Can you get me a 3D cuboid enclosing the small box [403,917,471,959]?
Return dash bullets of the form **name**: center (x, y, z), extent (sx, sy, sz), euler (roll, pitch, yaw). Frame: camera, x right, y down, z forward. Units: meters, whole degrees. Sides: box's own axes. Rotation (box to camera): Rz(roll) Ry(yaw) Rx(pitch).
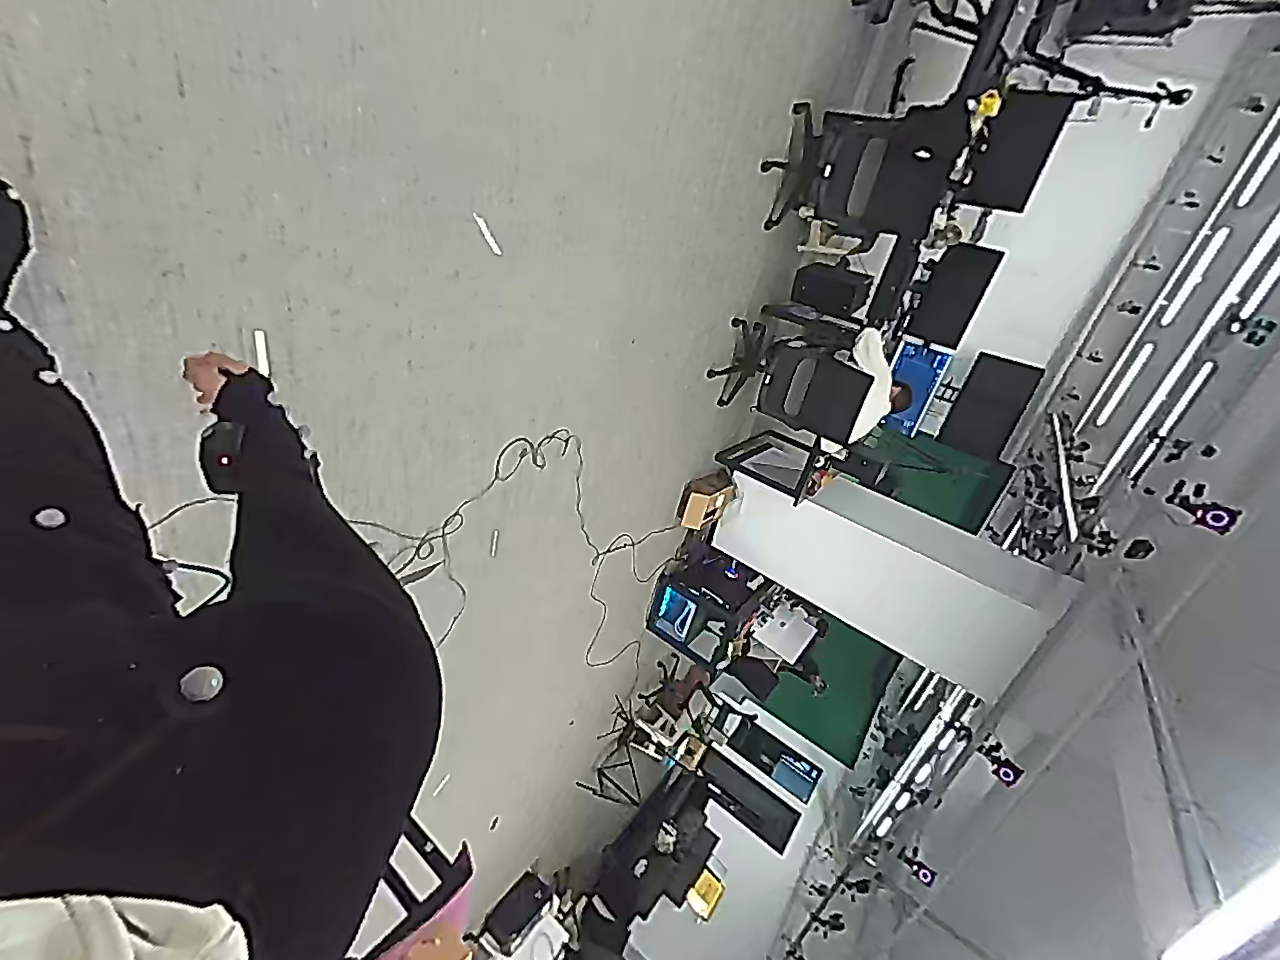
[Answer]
- **small box**: center (-0.746, 1.750, 1.954), extent (0.168, 0.176, 0.179), euler (-10, 124, -57)
